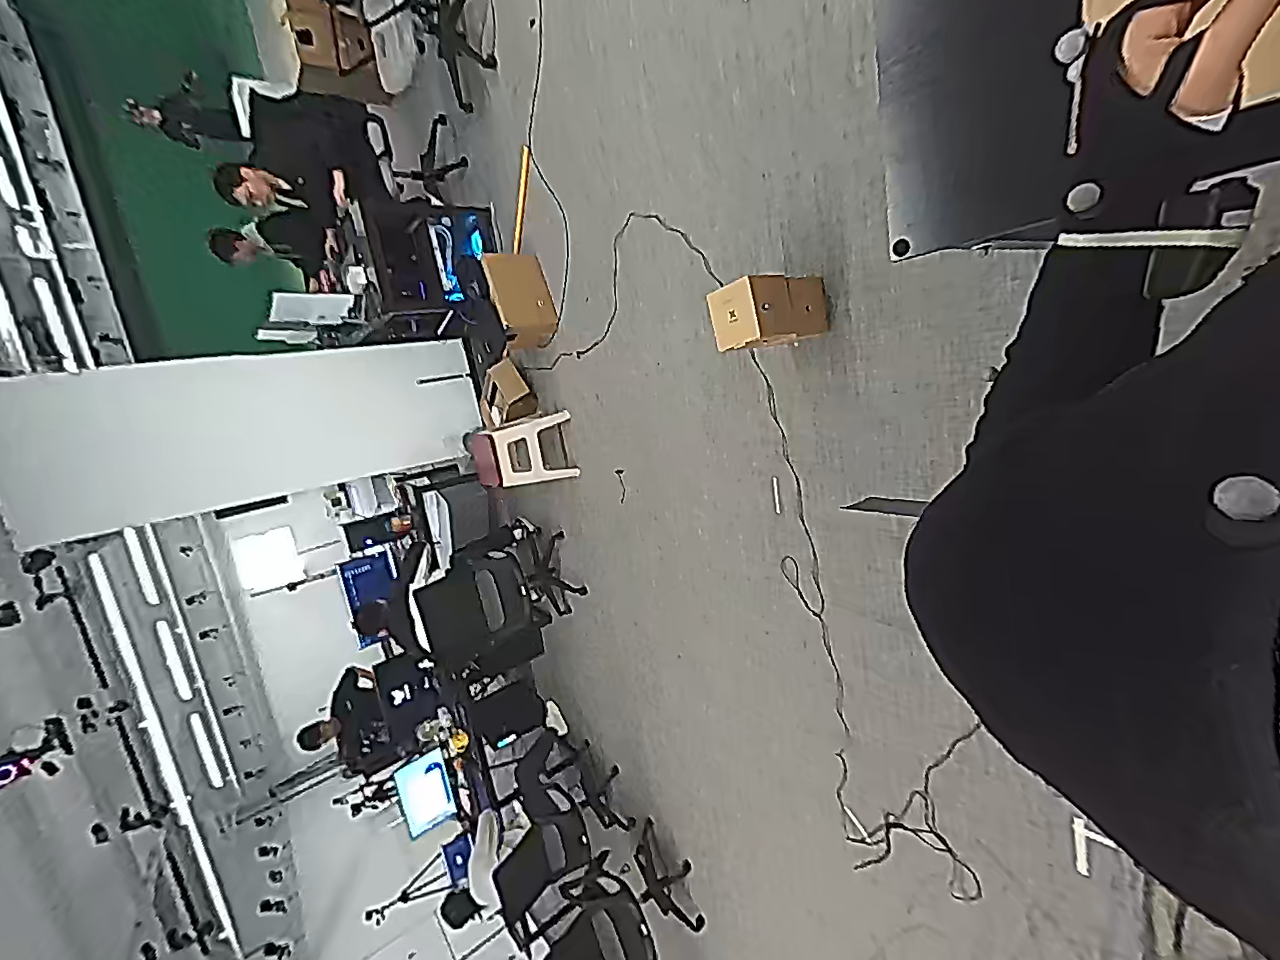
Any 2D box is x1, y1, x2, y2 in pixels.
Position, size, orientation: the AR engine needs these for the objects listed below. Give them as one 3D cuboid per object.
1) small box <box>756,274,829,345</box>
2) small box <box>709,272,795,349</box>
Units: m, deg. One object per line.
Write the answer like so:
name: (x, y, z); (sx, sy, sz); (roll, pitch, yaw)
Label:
small box: (0.460, -0.527, 1.672); (0.168, 0.176, 0.179); (0, 104, 54)
small box: (0.331, -0.495, 1.579); (0.168, 0.176, 0.179); (-6, 98, 54)
